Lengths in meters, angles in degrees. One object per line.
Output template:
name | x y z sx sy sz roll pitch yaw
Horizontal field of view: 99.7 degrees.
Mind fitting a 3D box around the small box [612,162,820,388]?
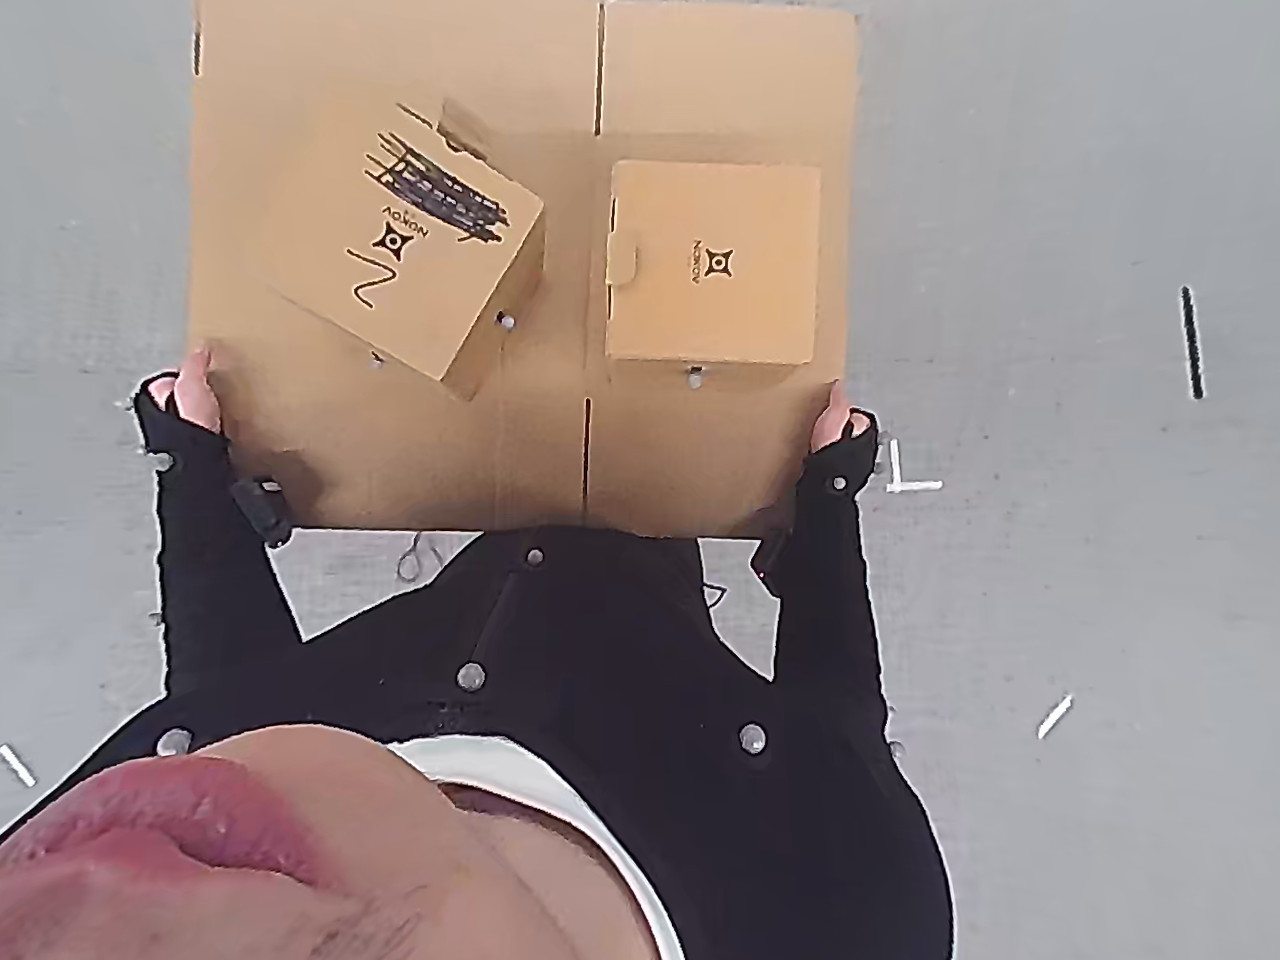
small box | 0.065 -0.190 0.549 0.179 0.176 0.168 2 90 0
